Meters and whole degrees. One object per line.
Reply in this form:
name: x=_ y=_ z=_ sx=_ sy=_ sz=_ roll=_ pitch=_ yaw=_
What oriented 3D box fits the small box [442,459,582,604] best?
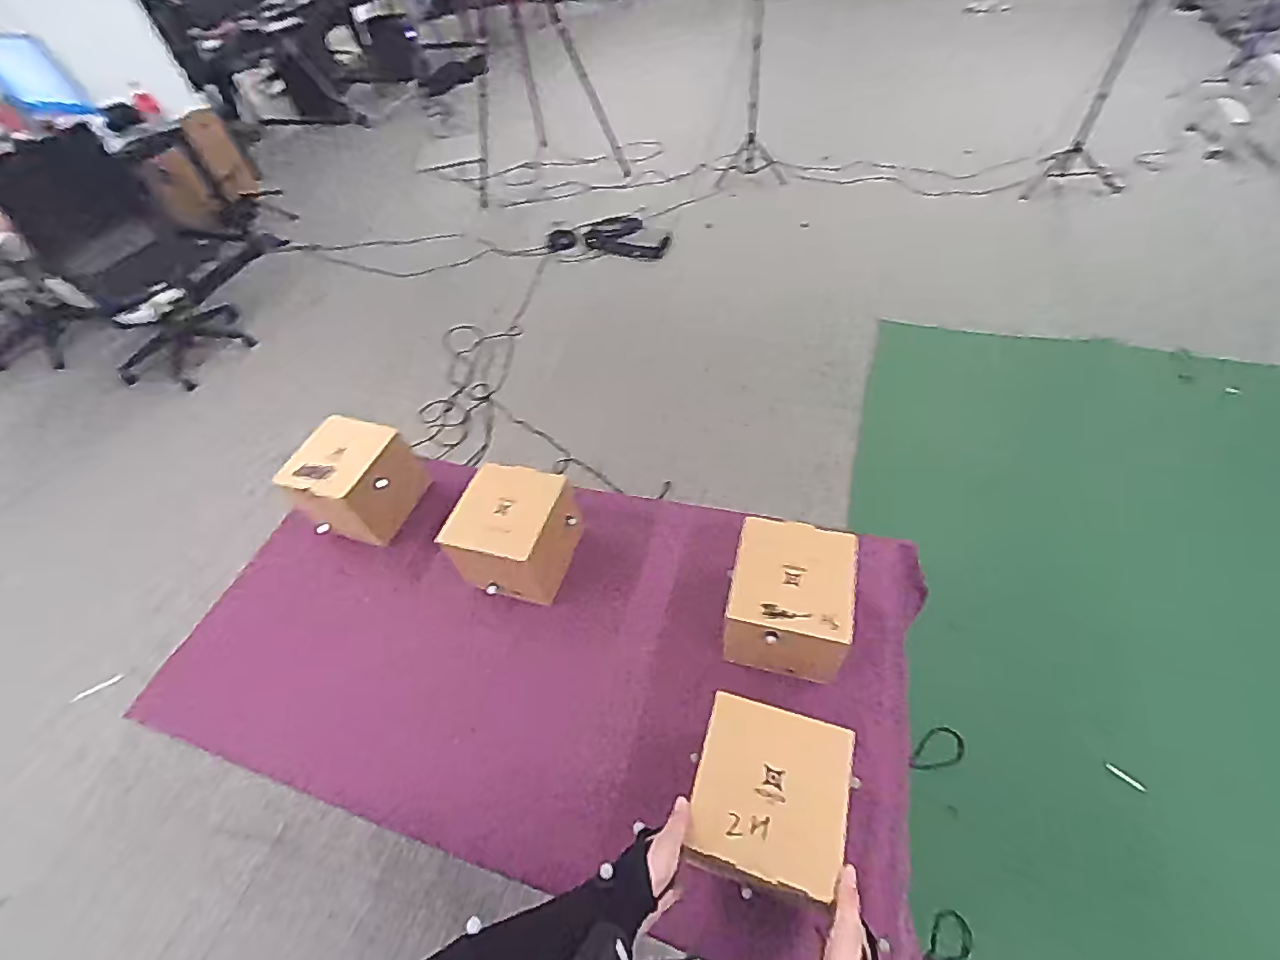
small box: x=-0.214 y=0.093 z=0.965 sx=0.168 sy=0.176 sz=0.179 roll=11 pitch=54 yaw=16

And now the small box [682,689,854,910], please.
small box: x=0.155 y=0.395 z=0.670 sx=0.168 sy=0.176 sz=0.179 roll=12 pitch=53 yaw=17

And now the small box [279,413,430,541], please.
small box: x=-0.552 y=-0.003 z=1.077 sx=0.168 sy=0.176 sz=0.179 roll=13 pitch=55 yaw=16

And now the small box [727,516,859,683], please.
small box: x=0.230 y=0.185 z=0.834 sx=0.168 sy=0.176 sz=0.179 roll=9 pitch=53 yaw=15
